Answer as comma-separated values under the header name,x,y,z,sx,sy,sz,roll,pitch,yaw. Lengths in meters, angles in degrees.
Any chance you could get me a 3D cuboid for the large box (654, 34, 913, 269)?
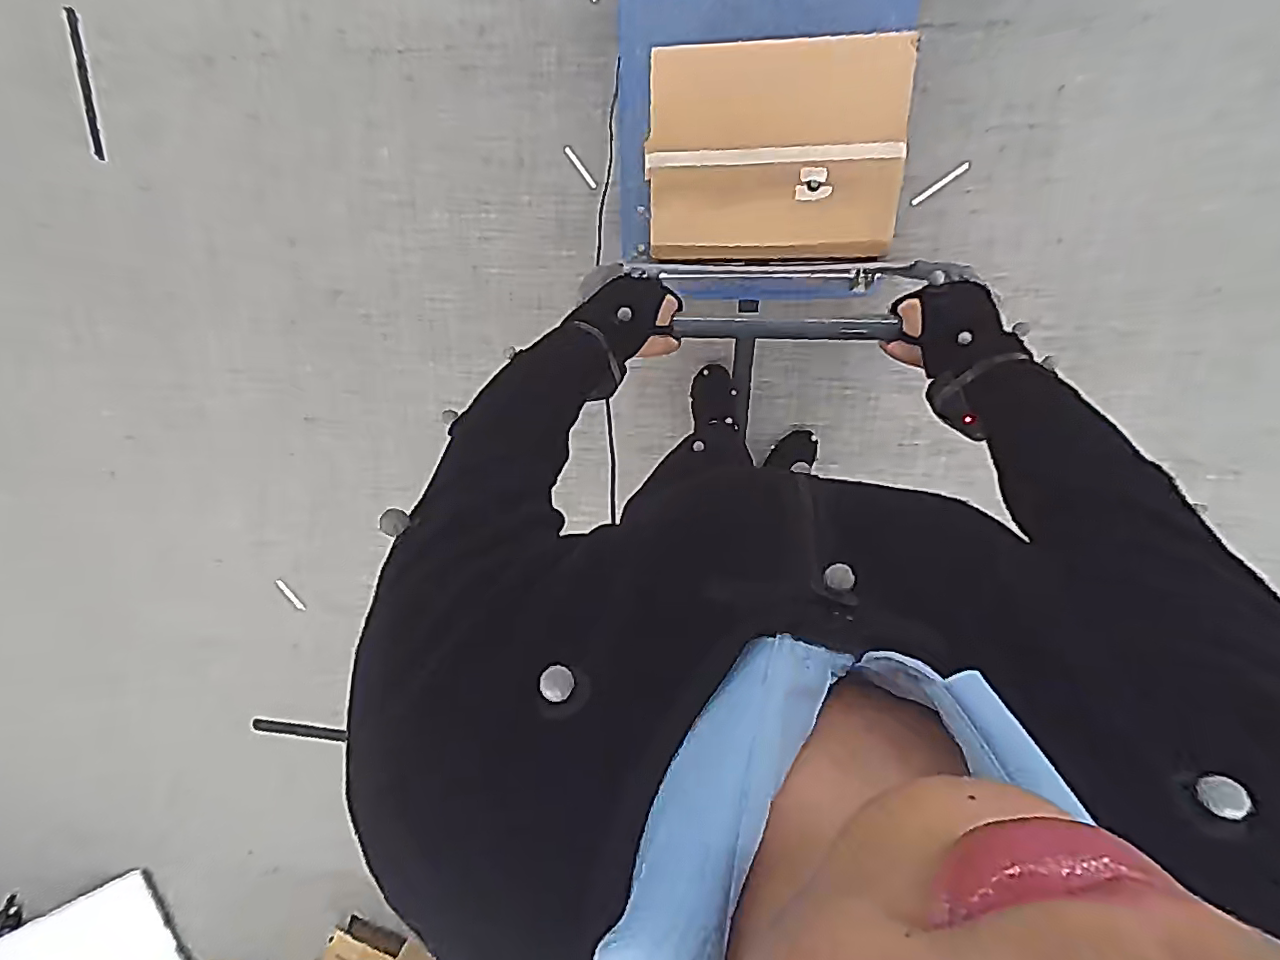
name,x,y,z,sx,sy,sz,roll,pitch,yaw
large box,0.239,-0.582,1.031,0.408,0.320,0.320,2,110,7
